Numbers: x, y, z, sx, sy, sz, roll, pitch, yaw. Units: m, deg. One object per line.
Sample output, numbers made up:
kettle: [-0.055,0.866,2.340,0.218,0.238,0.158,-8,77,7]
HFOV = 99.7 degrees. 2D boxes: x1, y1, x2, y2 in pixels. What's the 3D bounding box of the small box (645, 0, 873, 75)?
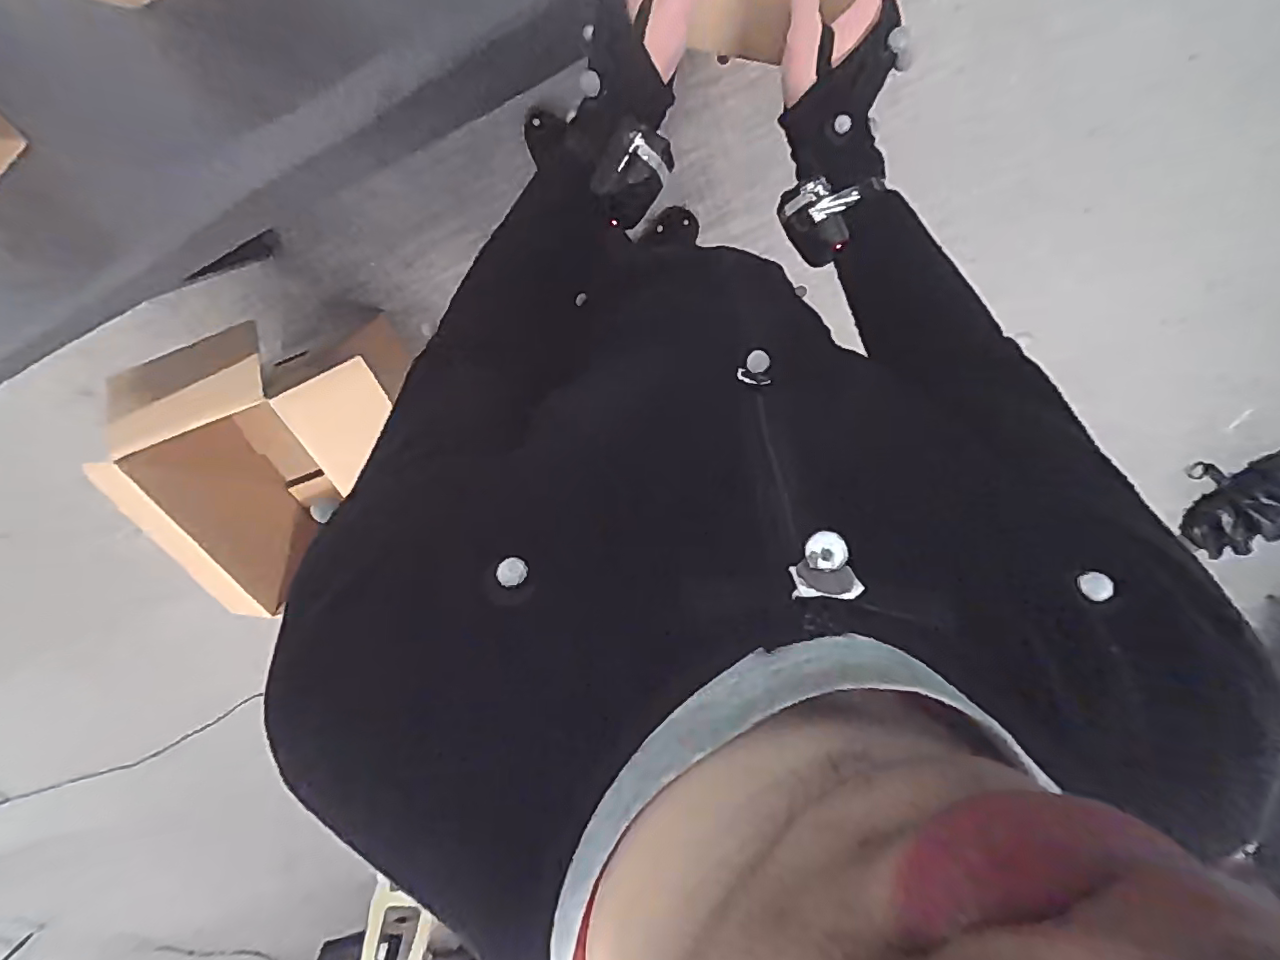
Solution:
small box: [0.104,-0.465,0.442,0.179,0.176,0.168,7,138,-6]
